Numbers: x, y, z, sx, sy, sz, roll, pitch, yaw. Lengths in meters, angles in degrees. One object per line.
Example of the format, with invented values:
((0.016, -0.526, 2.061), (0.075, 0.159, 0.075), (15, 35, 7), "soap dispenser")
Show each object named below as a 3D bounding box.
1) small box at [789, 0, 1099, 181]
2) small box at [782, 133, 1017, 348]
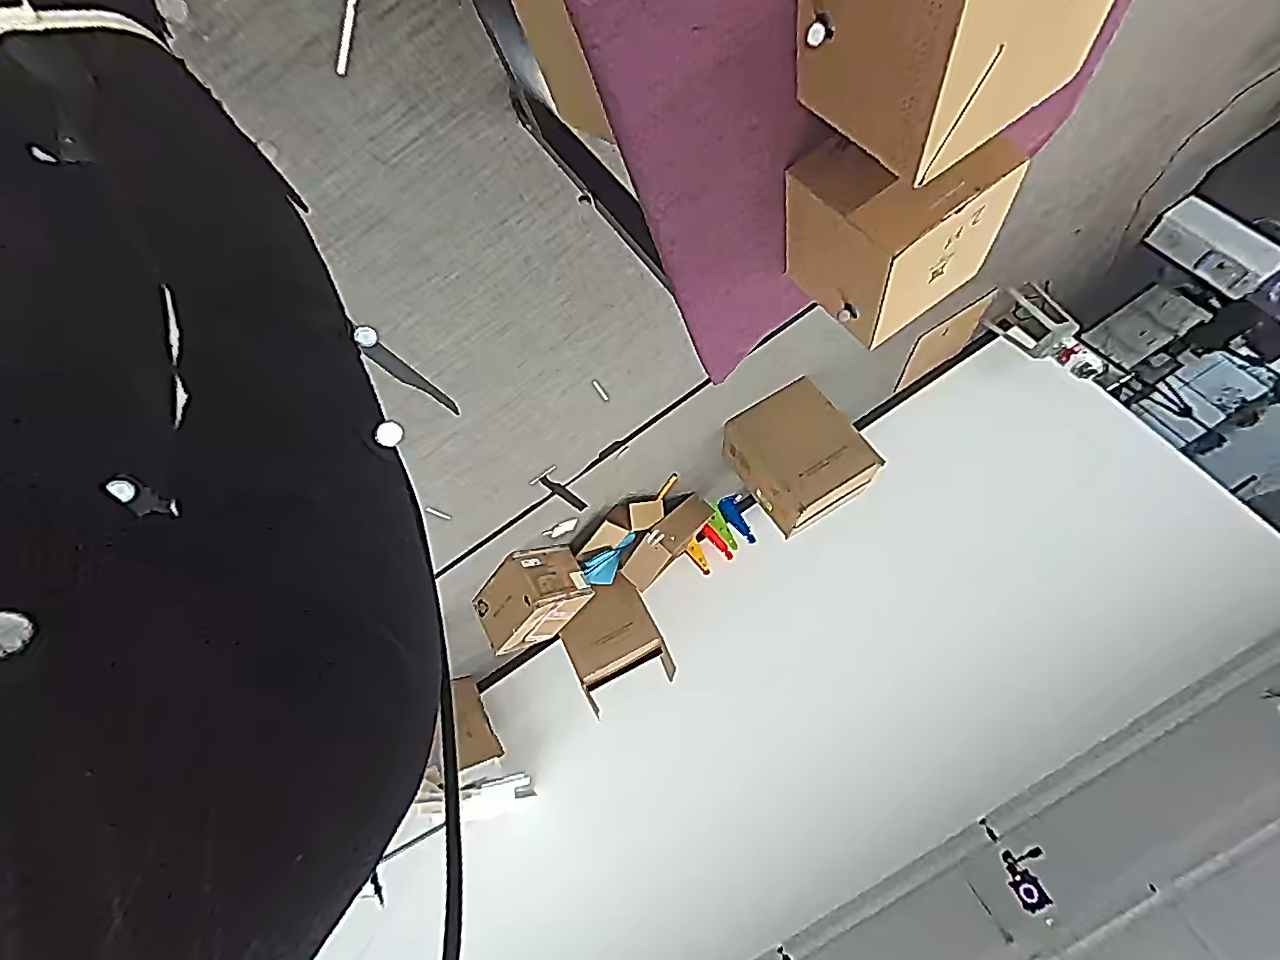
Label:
((0.236, -0.385, 0.418), (0.168, 0.176, 0.179), (-35, 156, 0), "small box")
((0.285, -0.302, 0.645), (0.168, 0.176, 0.179), (-36, 157, 0), "small box")
